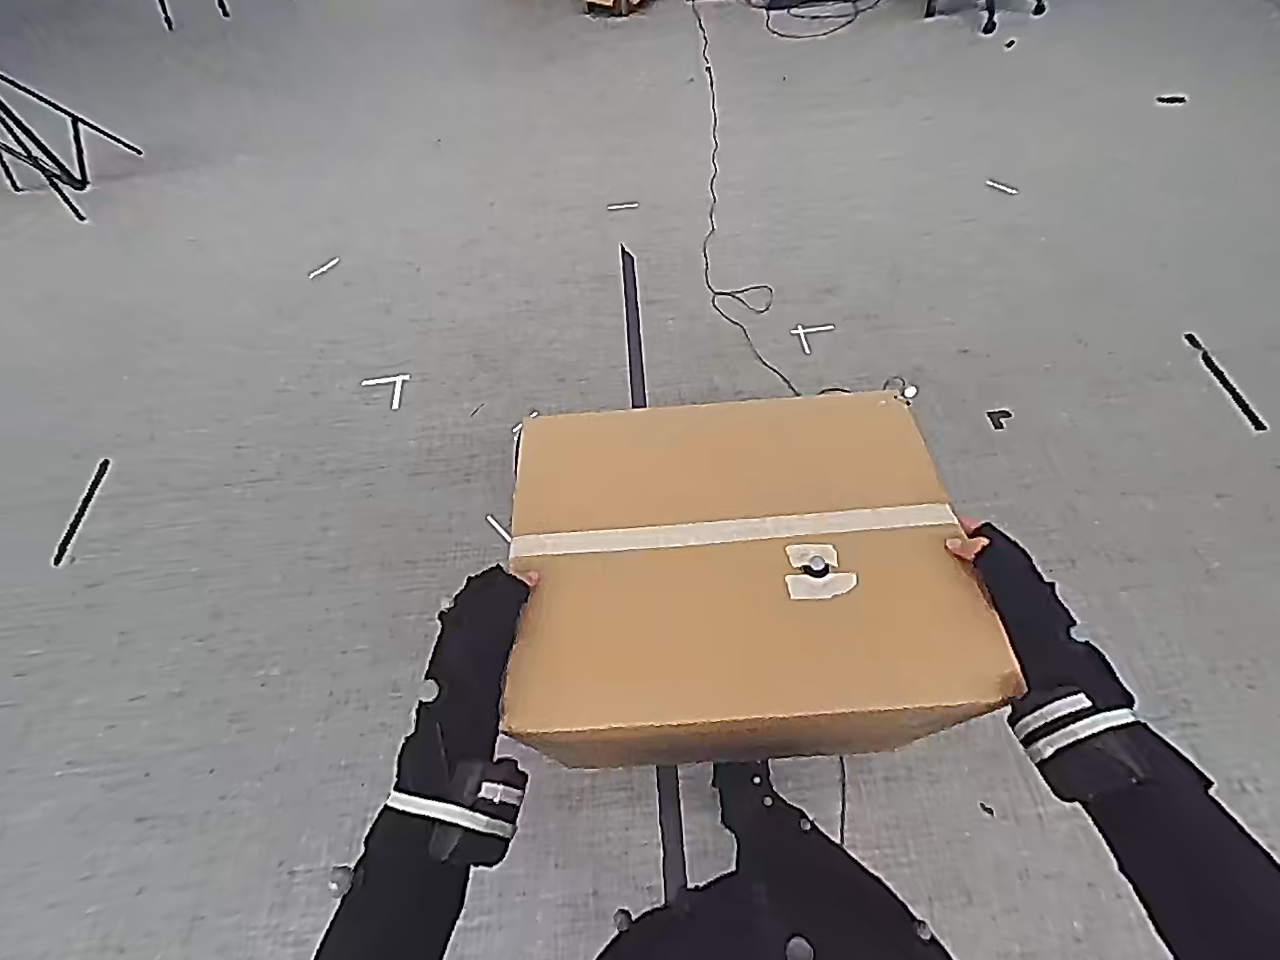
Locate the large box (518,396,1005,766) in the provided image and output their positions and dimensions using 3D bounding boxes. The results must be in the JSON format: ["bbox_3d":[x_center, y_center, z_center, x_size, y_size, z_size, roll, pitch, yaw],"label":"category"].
[{"bbox_3d":[0.094,0.134,0.638,0.408,0.320,0.320,-5,57,1],"label":"large box"}]
